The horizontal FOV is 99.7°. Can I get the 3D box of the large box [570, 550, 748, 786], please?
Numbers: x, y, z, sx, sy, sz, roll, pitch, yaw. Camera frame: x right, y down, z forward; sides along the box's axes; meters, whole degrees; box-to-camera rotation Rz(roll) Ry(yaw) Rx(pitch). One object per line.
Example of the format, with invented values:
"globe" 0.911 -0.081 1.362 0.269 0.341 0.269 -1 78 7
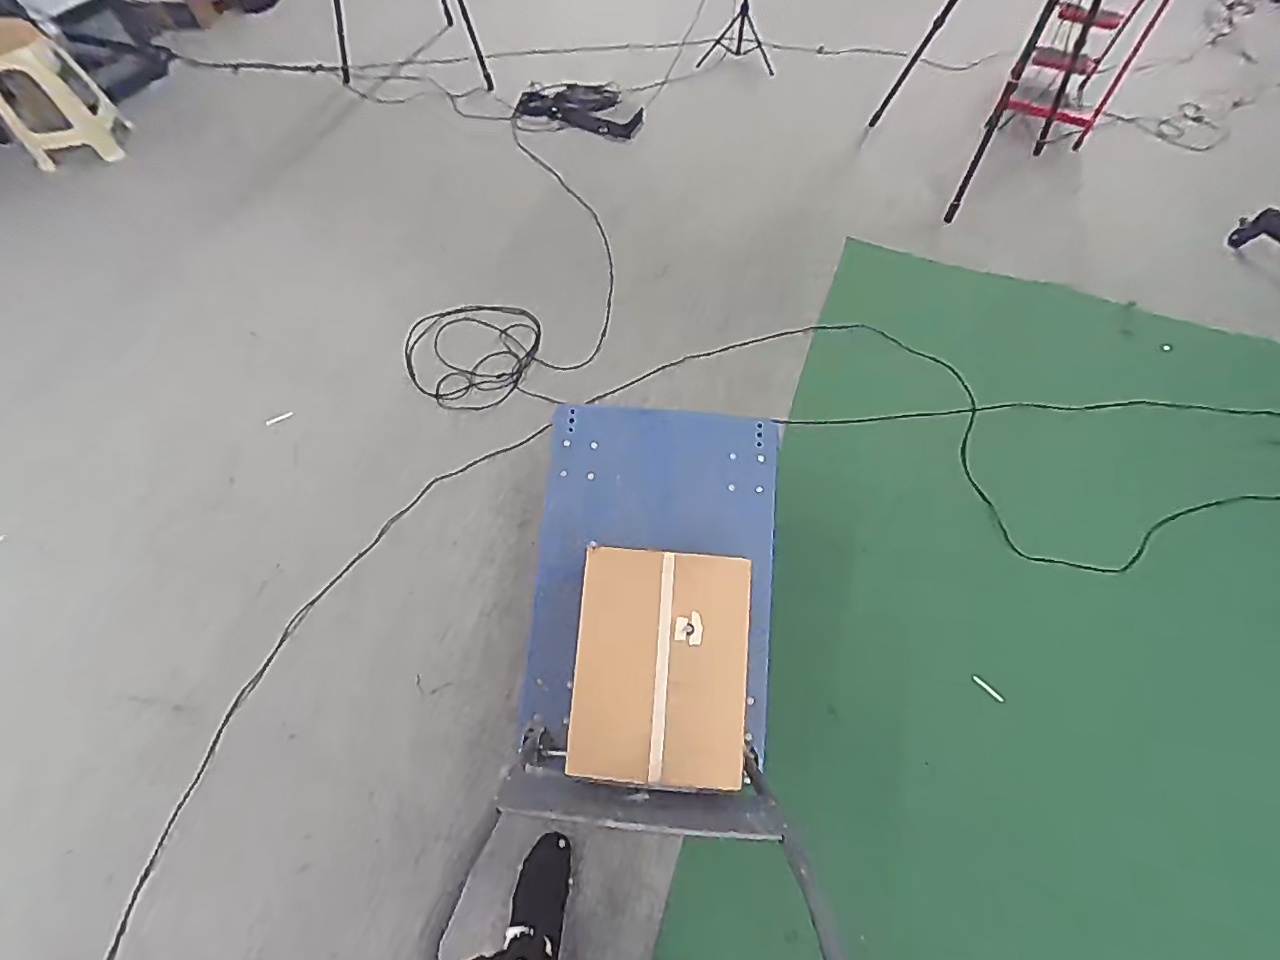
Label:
"large box" 0.043 0.366 1.133 0.320 0.320 0.408 4 79 1
